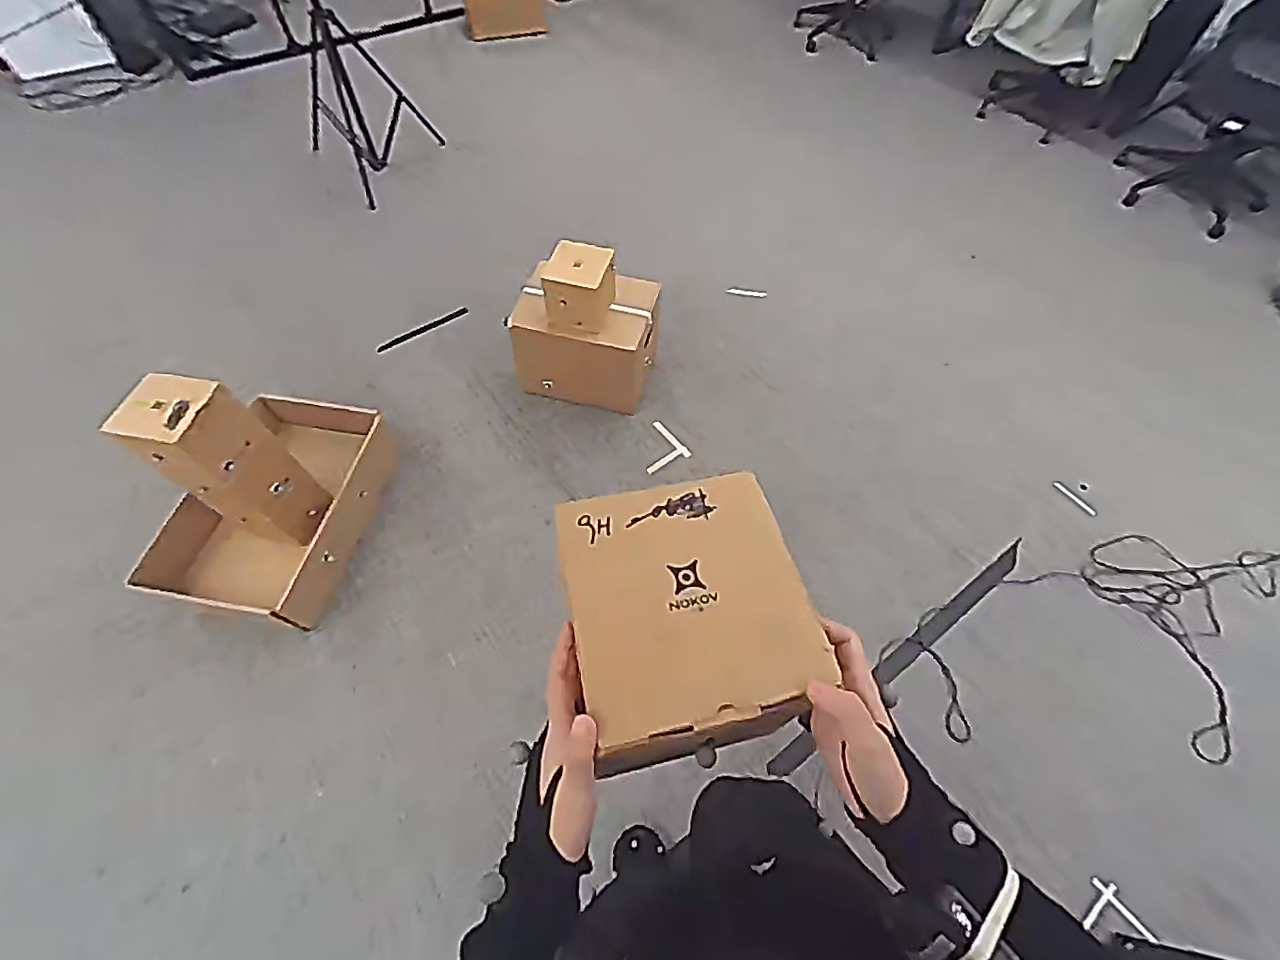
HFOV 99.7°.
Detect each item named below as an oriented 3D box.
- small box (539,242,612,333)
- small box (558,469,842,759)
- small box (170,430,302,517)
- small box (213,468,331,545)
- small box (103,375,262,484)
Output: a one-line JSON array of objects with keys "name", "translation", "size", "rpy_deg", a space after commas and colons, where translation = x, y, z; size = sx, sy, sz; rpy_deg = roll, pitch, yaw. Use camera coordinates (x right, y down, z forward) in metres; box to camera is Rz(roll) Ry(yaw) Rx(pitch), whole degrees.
[{"name": "small box", "translation": [-0.178, -0.556, 1.579], "size": [0.168, 0.176, 0.179], "rpy_deg": [13, 59, 6]}, {"name": "small box", "translation": [0.030, 0.117, 0.446], "size": [0.168, 0.176, 0.179], "rpy_deg": [-9, 58, -12]}, {"name": "small box", "translation": [-0.999, -0.023, 1.347], "size": [0.179, 0.176, 0.168], "rpy_deg": [10, 60, 4]}, {"name": "small box", "translation": [-1.000, 0.063, 1.485], "size": [0.179, 0.176, 0.168], "rpy_deg": [11, 60, 6]}, {"name": "small box", "translation": [-1.001, -0.107, 1.206], "size": [0.179, 0.176, 0.168], "rpy_deg": [9, 59, 6]}]
